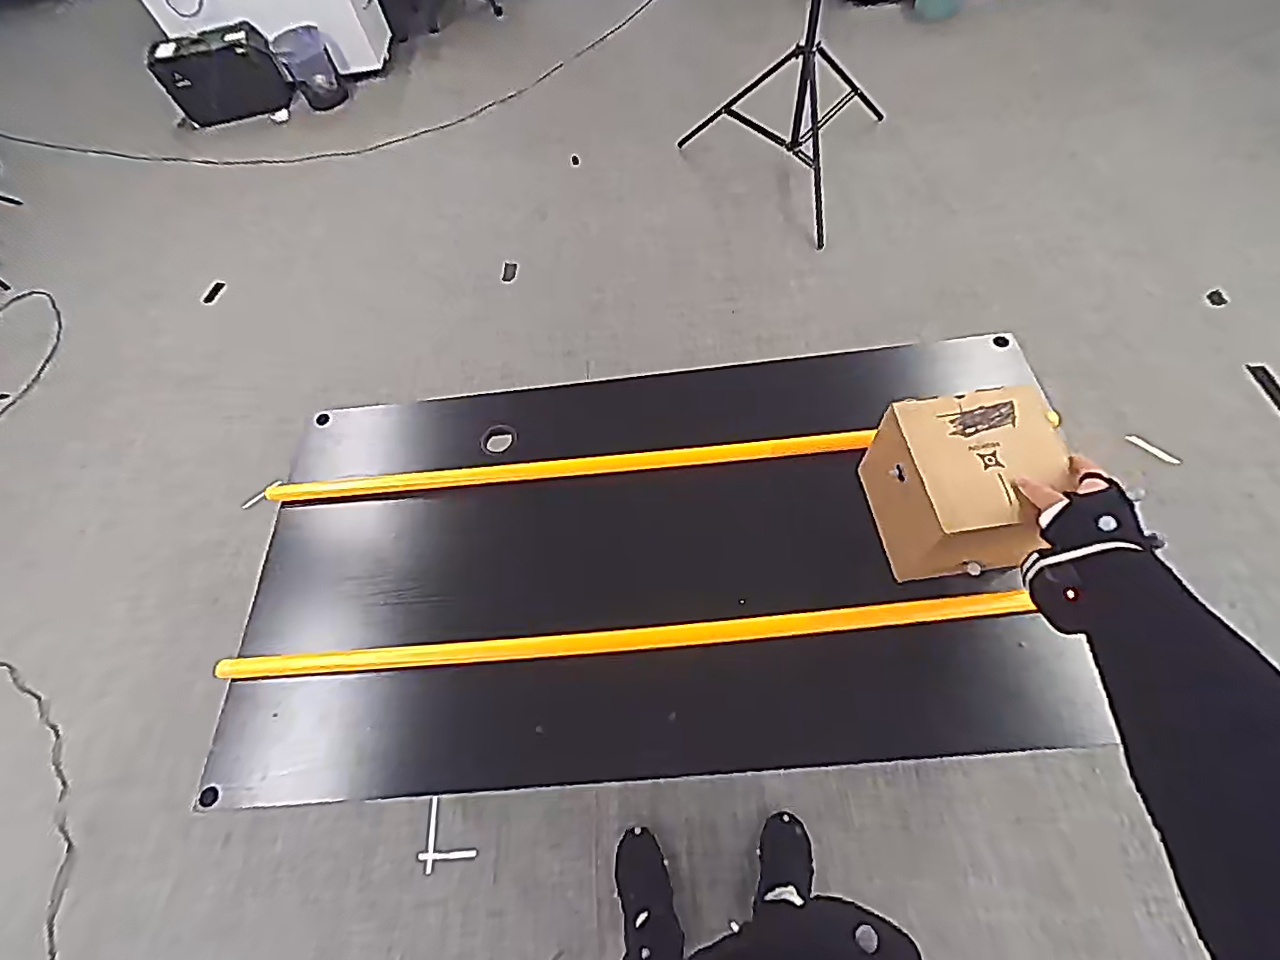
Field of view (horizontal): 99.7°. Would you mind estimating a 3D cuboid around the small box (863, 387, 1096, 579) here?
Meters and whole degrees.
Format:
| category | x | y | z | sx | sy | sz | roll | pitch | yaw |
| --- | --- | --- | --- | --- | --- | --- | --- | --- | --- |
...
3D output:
| category | x | y | z | sx | sy | sz | roll | pitch | yaw |
| --- | --- | --- | --- | --- | --- | --- | --- | --- | --- |
| small box | 0.402 | 0.010 | 0.684 | 0.168 | 0.176 | 0.179 | -8 | 61 | 3 |
